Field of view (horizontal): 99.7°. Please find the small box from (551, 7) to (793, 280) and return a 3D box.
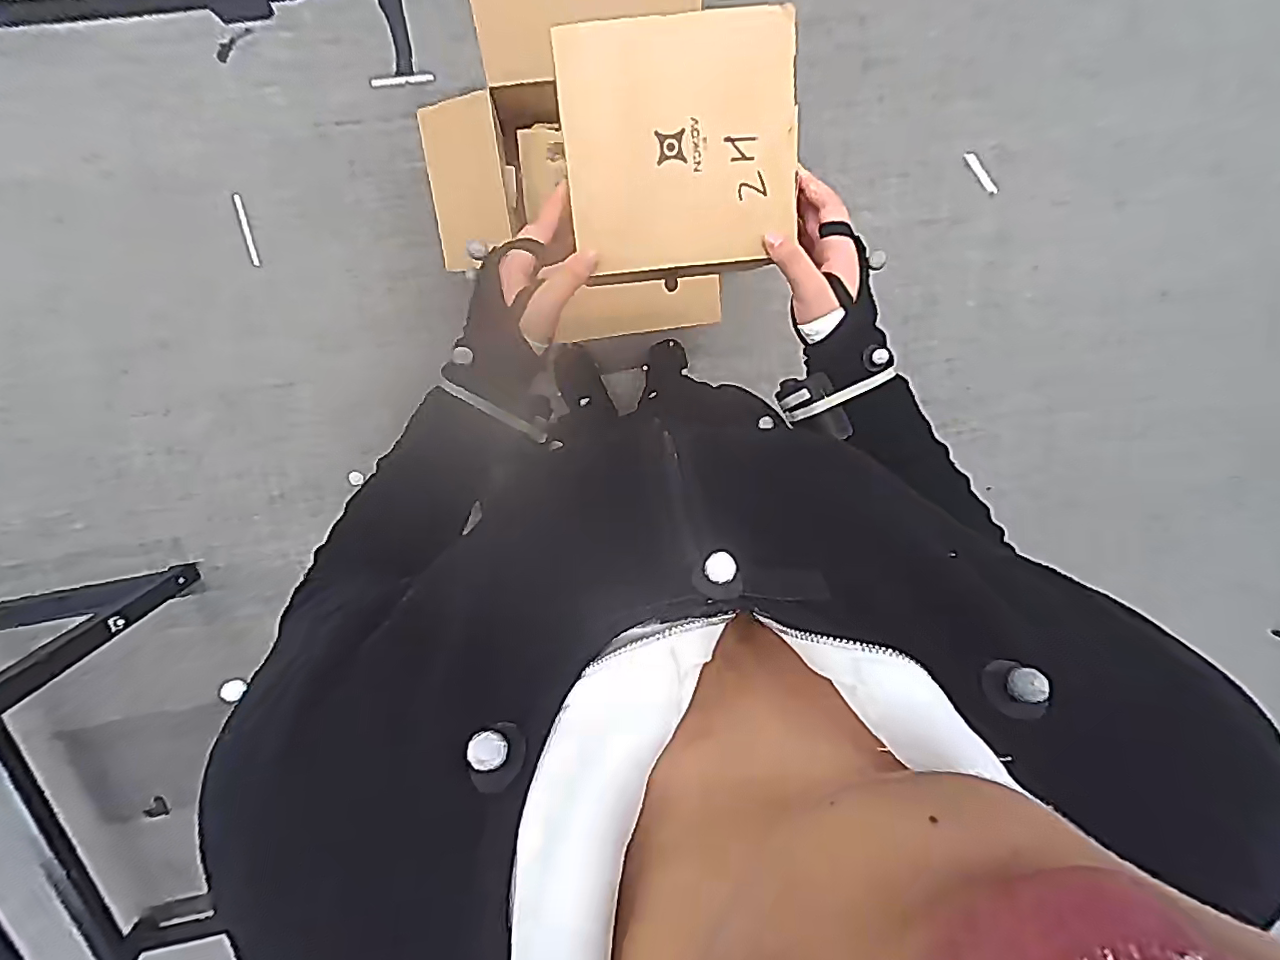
[{"bbox_3d":[0.025,-0.275,0.482,0.179,0.176,0.168,-6,108,-2],"label":"small box"}]
